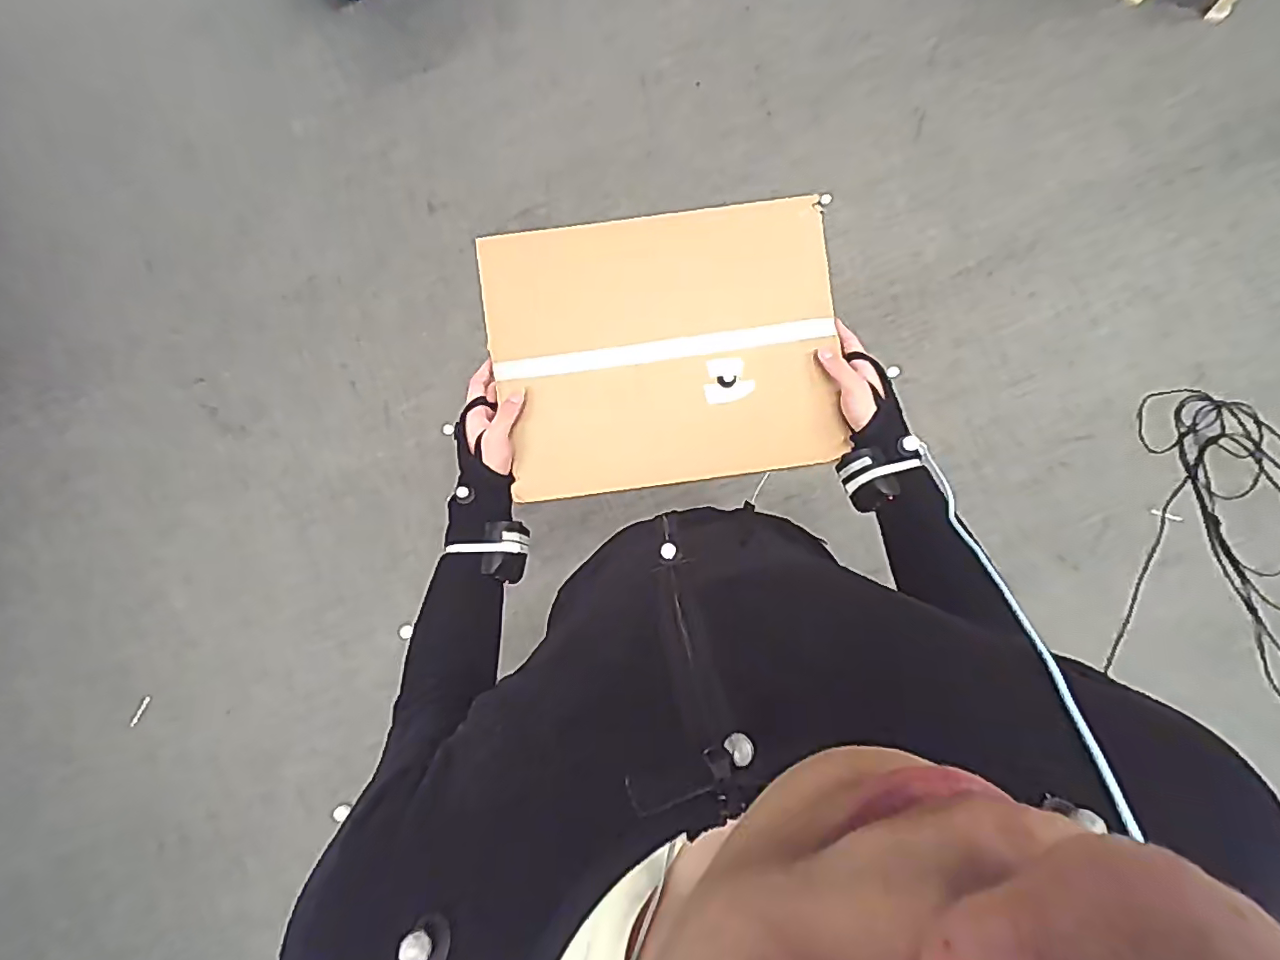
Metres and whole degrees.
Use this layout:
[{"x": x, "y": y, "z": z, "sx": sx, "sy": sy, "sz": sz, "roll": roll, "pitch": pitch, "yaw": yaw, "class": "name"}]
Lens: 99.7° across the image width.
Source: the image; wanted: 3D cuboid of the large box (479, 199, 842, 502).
[{"x": 0.022, "y": -0.156, "z": 0.794, "sx": 0.408, "sy": 0.320, "sz": 0.320, "roll": -8, "pitch": 92, "yaw": -1, "class": "large box"}]
